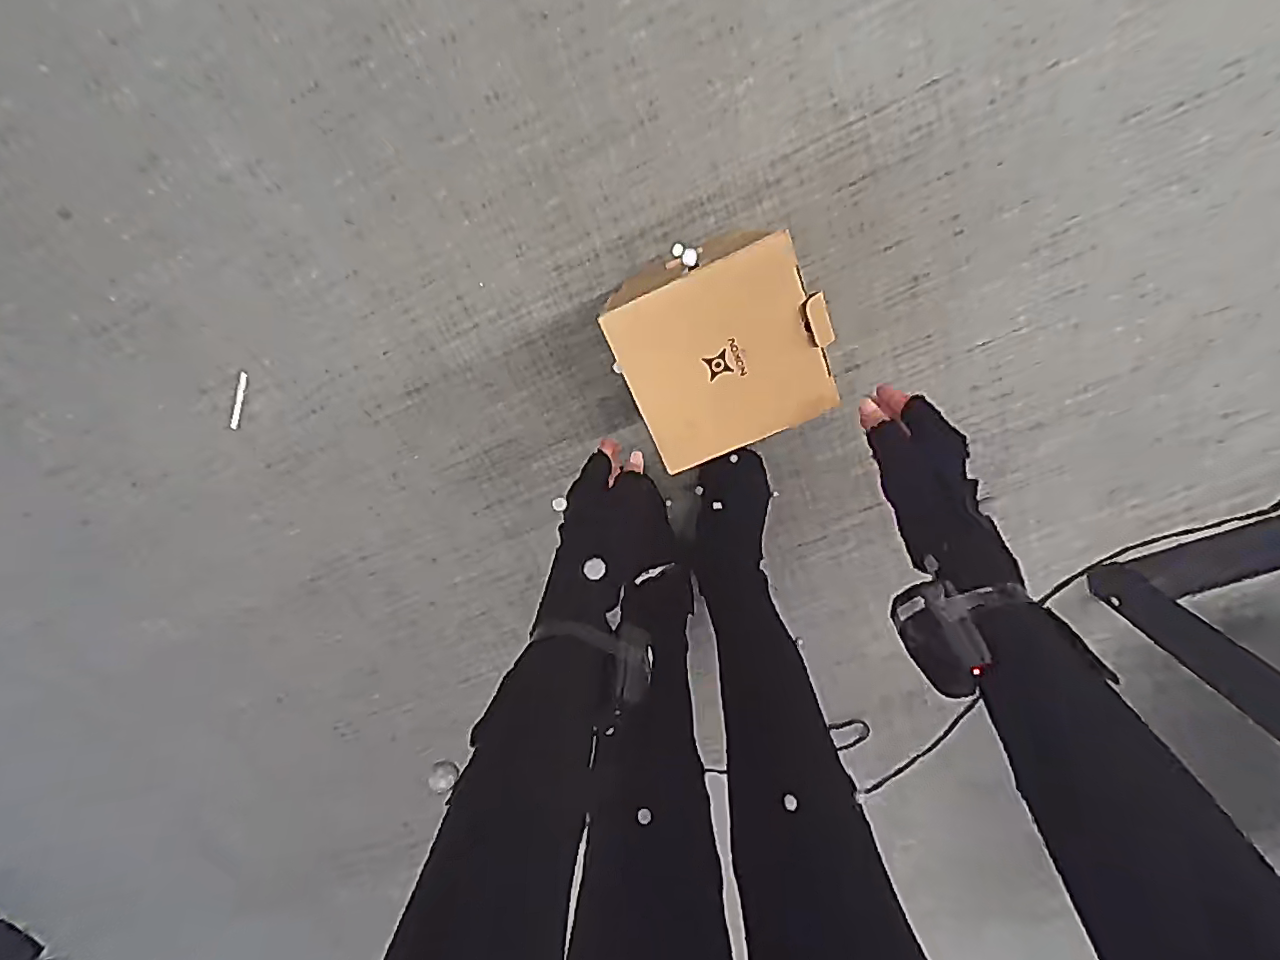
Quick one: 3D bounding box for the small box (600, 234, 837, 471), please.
[{"bbox_3d":[0.077,-0.137,0.567,0.179,0.176,0.168,-23,112,11],"label":"small box"}]
